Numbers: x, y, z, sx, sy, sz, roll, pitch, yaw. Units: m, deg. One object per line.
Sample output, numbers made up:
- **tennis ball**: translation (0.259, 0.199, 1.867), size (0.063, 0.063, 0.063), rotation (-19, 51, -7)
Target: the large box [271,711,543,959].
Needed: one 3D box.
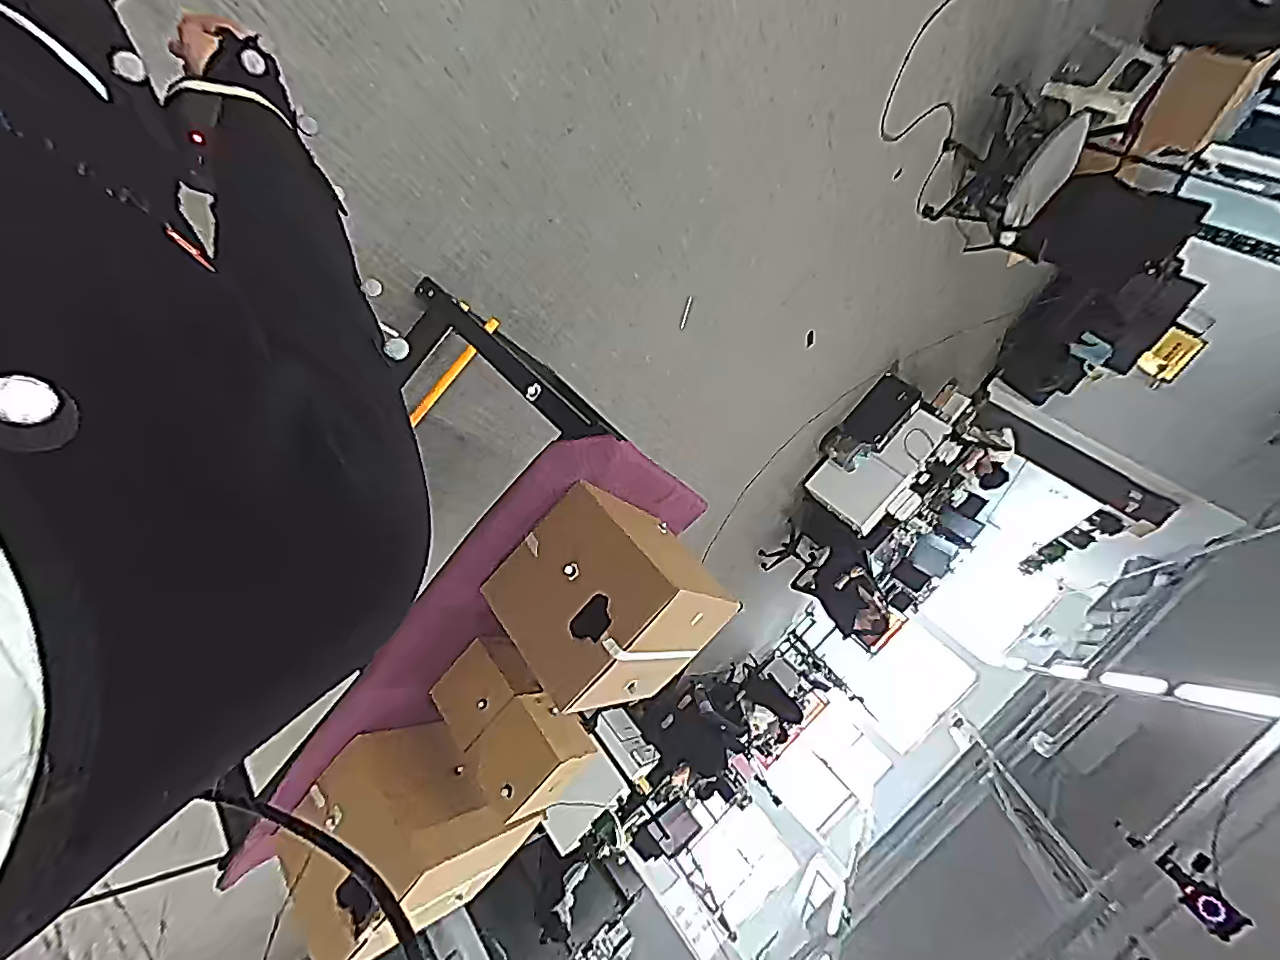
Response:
- **large box**: translation (-0.509, 0.774, 1.224), size (0.320, 0.320, 0.408), rotation (-49, 152, 5)
